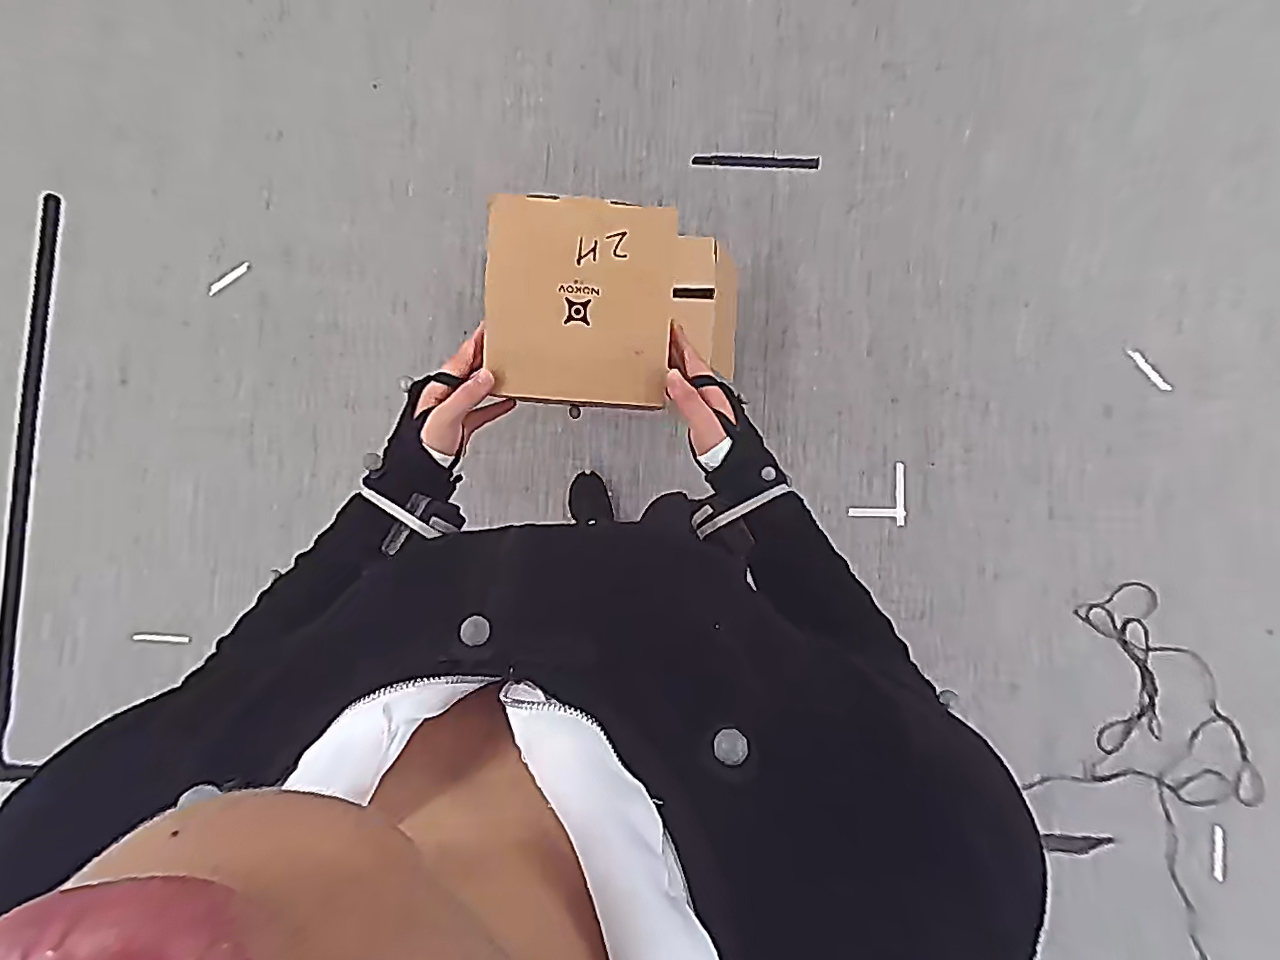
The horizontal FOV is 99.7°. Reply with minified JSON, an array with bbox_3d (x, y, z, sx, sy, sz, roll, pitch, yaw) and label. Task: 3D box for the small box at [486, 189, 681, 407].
[{"bbox_3d":[-0.054,-0.170,0.564,0.168,0.176,0.179,5,96,-3],"label":"small box"}]
